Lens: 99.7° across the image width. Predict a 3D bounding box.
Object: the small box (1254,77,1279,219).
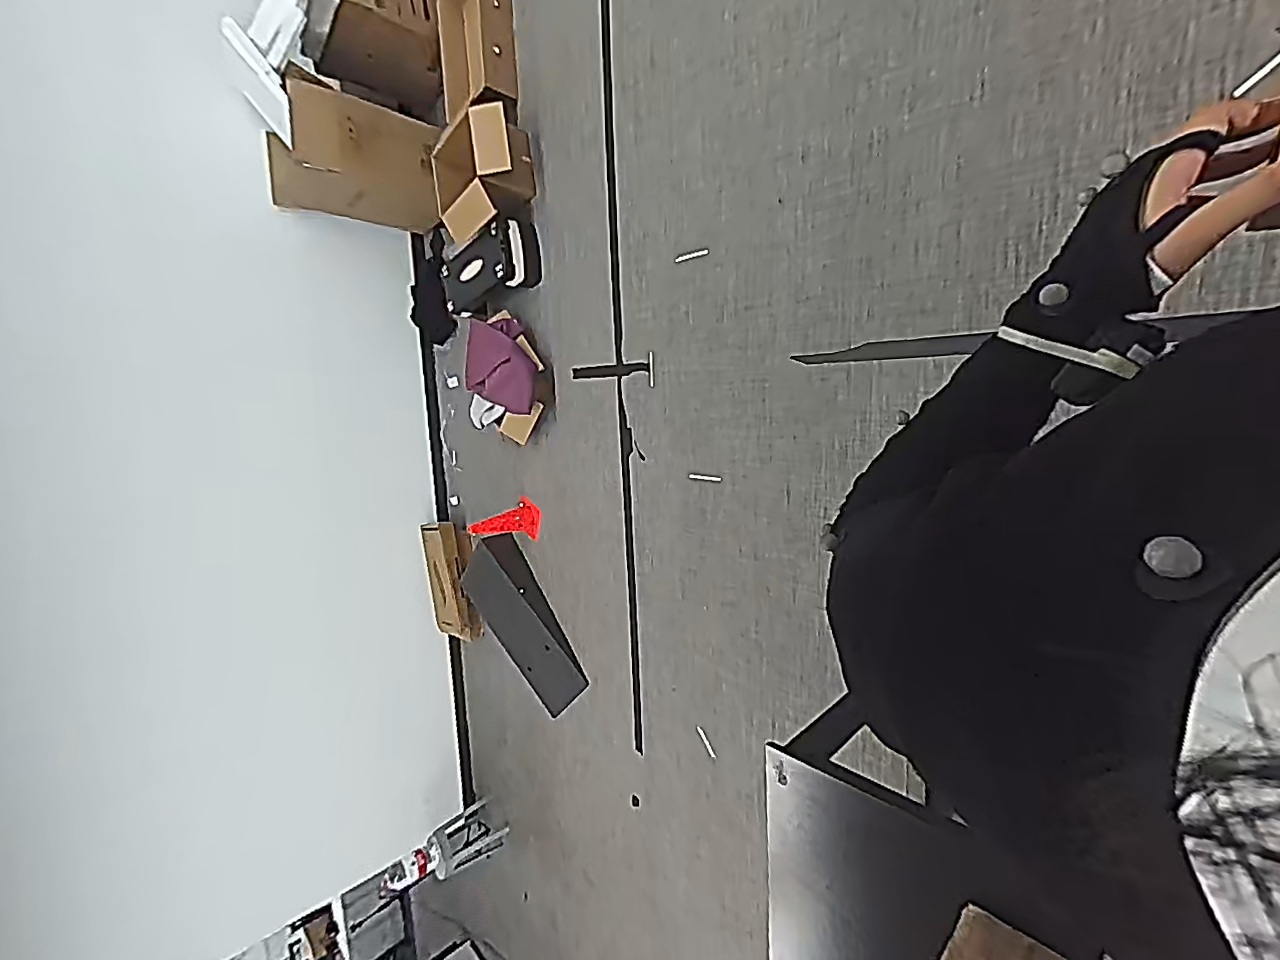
[{"bbox_3d":[0.472,-0.257,0.287,0.168,0.176,0.179,14,110,43],"label":"small box"}]
